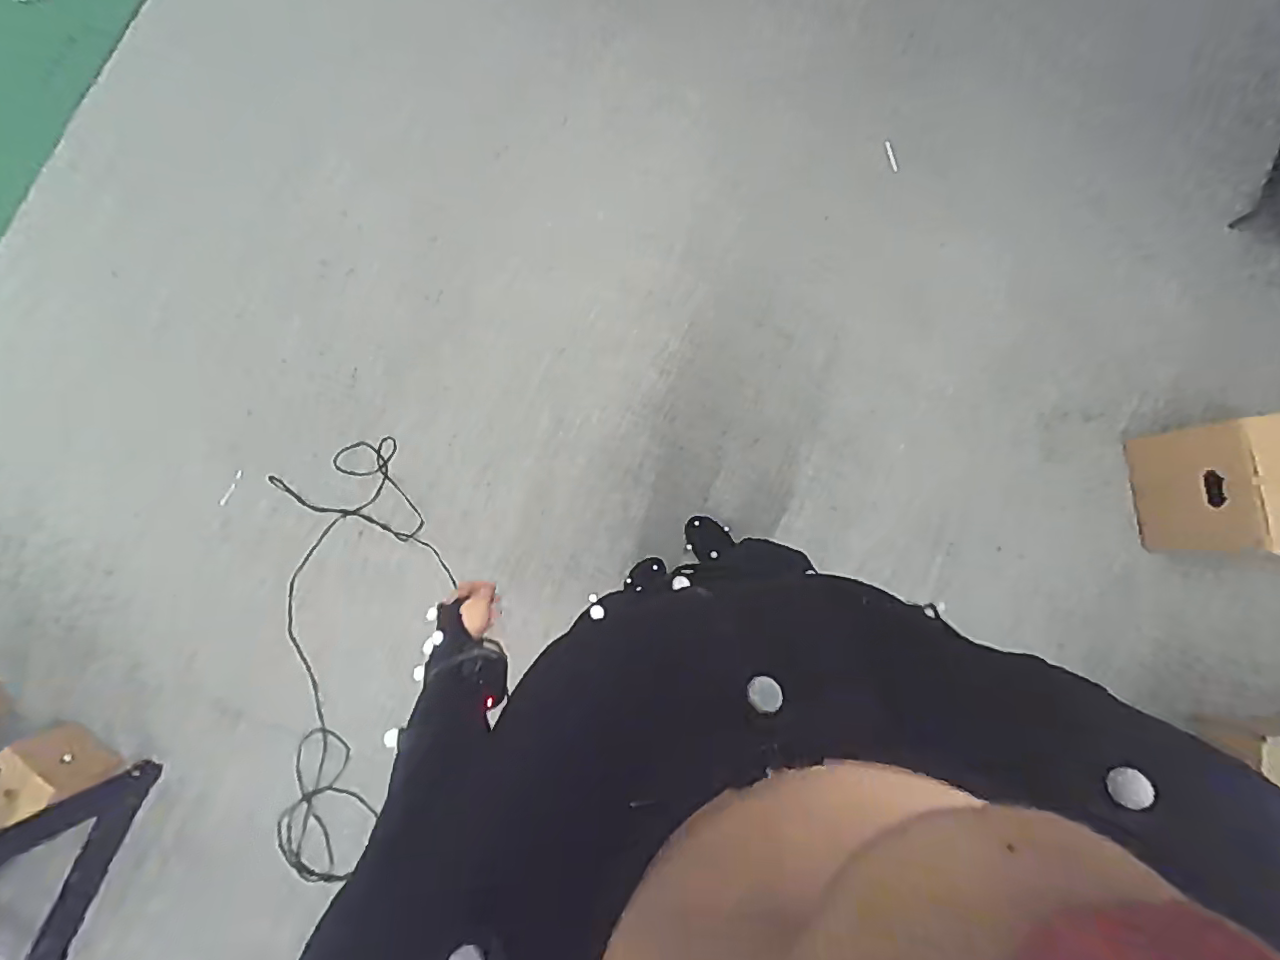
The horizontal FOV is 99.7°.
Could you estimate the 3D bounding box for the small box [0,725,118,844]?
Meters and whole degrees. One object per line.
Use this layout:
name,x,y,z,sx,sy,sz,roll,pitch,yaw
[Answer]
small box,-1.515,0.764,1.380,0.179,0.176,0.168,37,86,3
